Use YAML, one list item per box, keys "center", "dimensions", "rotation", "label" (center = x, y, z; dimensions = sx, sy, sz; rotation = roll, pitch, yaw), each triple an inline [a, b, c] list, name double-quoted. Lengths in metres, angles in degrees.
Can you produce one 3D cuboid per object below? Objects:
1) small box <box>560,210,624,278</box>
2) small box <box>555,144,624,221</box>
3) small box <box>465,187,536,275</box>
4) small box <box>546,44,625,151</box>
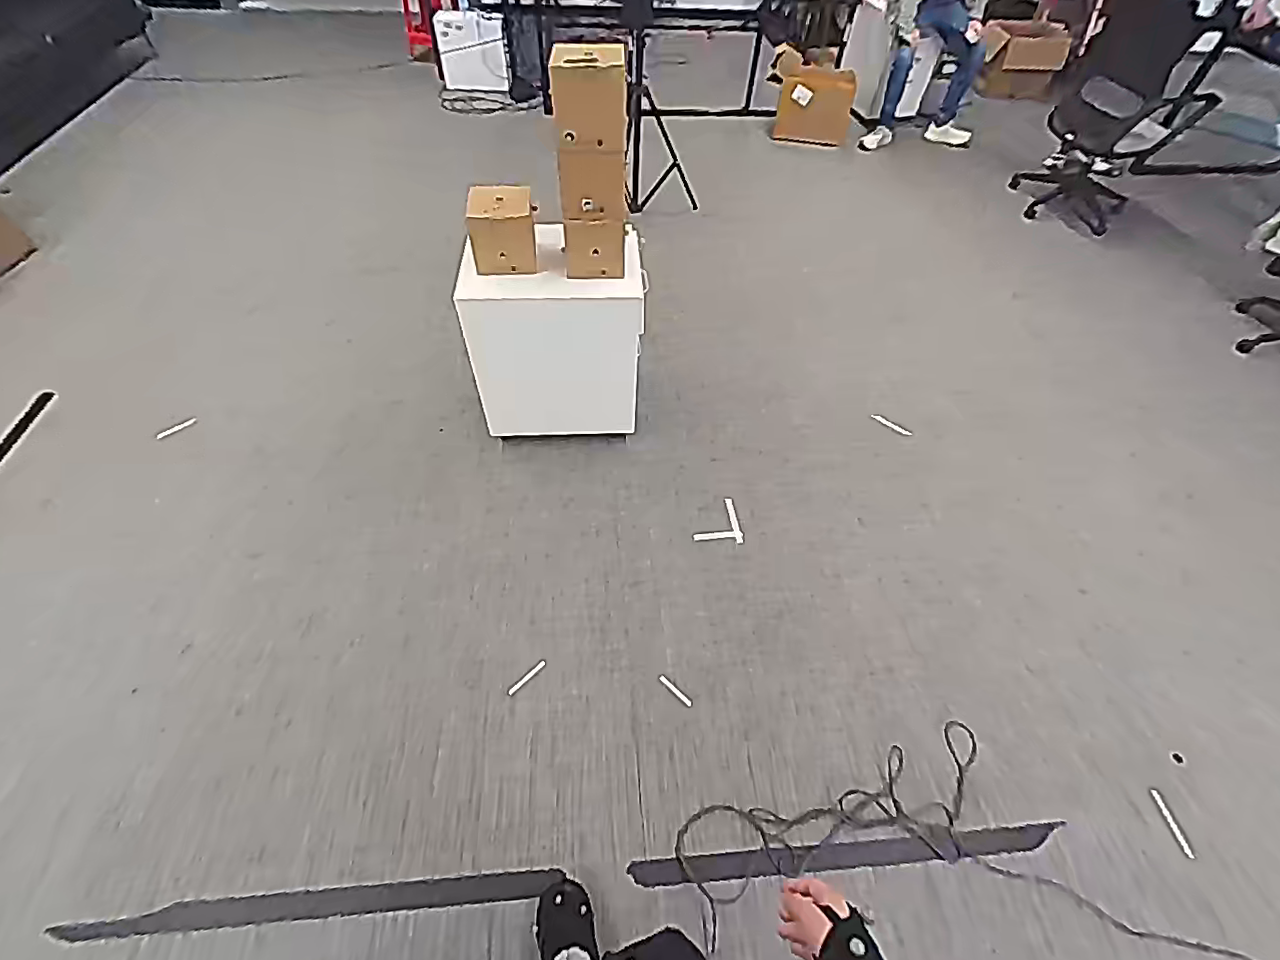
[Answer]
- center: [-0.130, -0.689, 1.523]
  dimensions: [0.168, 0.176, 0.179]
  rotation: [-2, 54, -3]
  label: "small box"
- center: [-0.126, -0.795, 1.399]
  dimensions: [0.168, 0.176, 0.179]
  rotation: [-2, 53, -2]
  label: "small box"
- center: [-0.385, -0.698, 1.517]
  dimensions: [0.168, 0.176, 0.179]
  rotation: [-4, 53, -6]
  label: "small box"
- center: [-0.120, -0.894, 1.267]
  dimensions: [0.168, 0.176, 0.179]
  rotation: [-1, 51, -2]
  label: "small box"
